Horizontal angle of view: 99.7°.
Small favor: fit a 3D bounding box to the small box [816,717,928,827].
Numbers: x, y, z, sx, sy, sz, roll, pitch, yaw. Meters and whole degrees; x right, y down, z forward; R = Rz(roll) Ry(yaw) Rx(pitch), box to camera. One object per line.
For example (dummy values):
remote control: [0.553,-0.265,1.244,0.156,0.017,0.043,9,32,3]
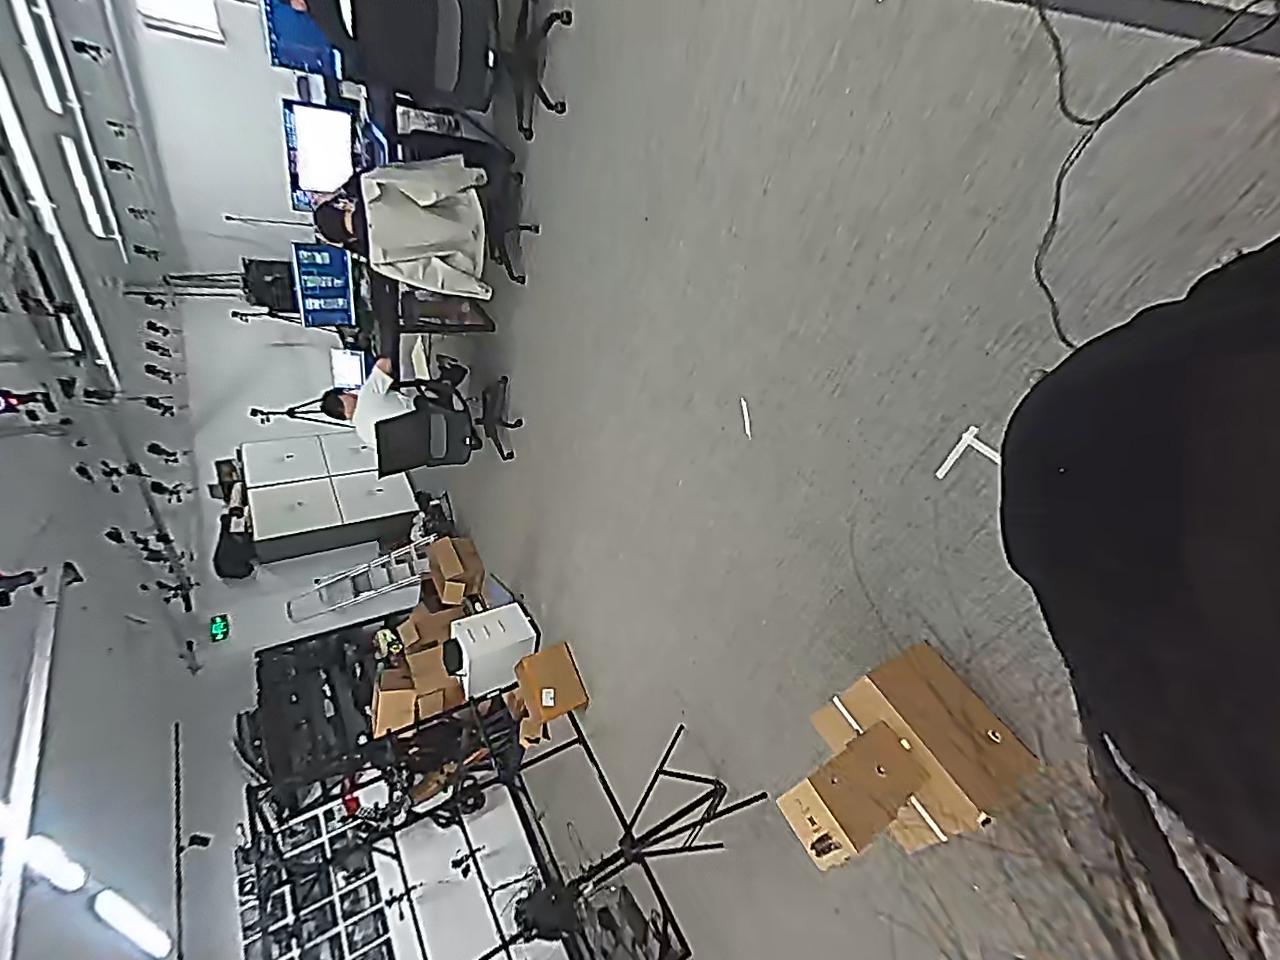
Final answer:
small box: [0.615,0.766,1.431,0.179,0.176,0.168,52,137,34]
